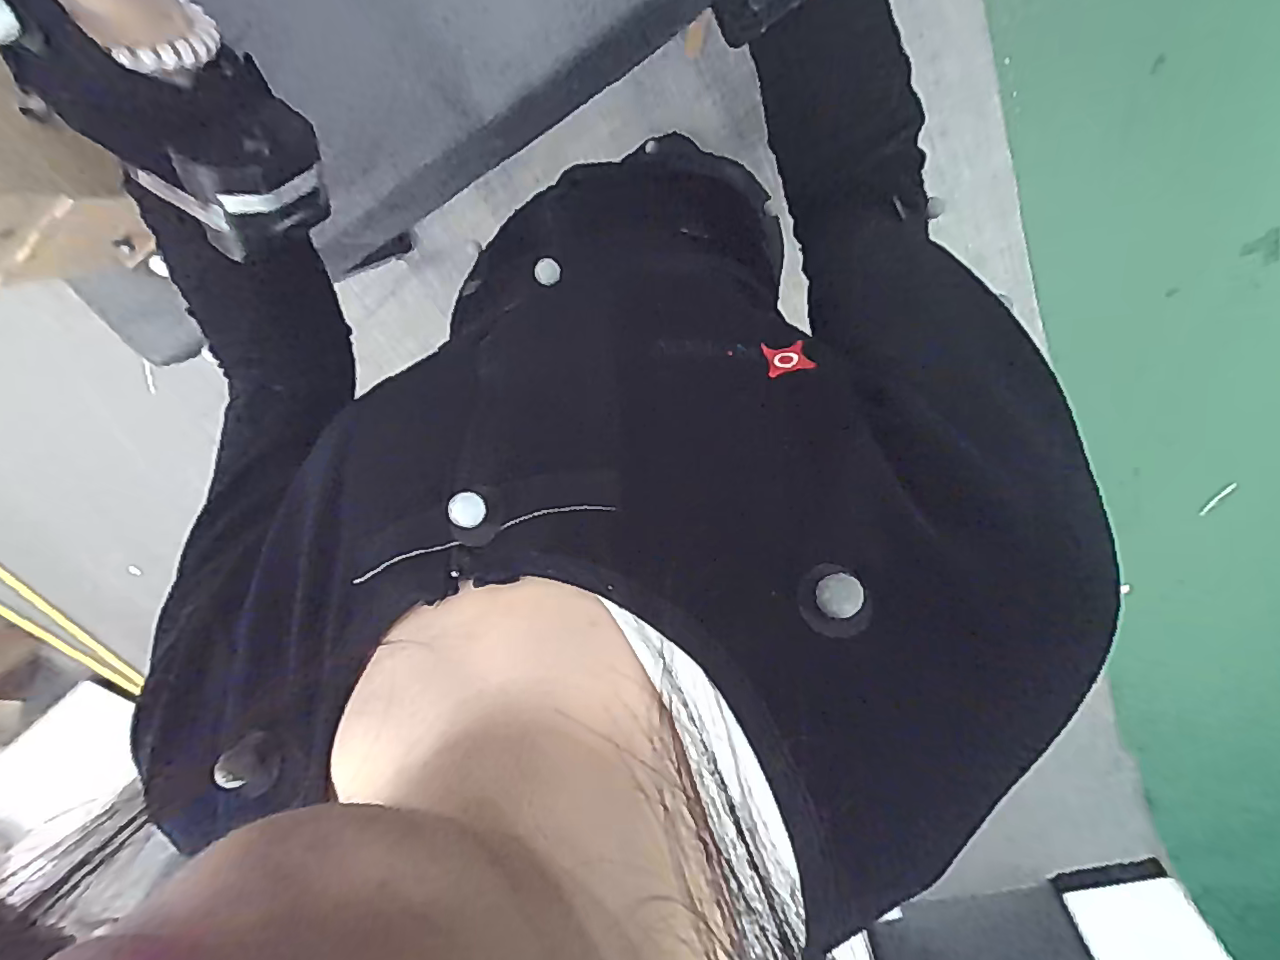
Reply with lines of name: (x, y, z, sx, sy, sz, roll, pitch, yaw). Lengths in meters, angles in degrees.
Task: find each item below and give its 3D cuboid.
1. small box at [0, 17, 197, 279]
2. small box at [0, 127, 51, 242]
small box: (-0.620, -0.329, 0.543, 0.168, 0.176, 0.179, -27, 116, 18)
small box: (-0.629, -0.248, 0.402, 0.168, 0.176, 0.179, -26, 116, 17)
